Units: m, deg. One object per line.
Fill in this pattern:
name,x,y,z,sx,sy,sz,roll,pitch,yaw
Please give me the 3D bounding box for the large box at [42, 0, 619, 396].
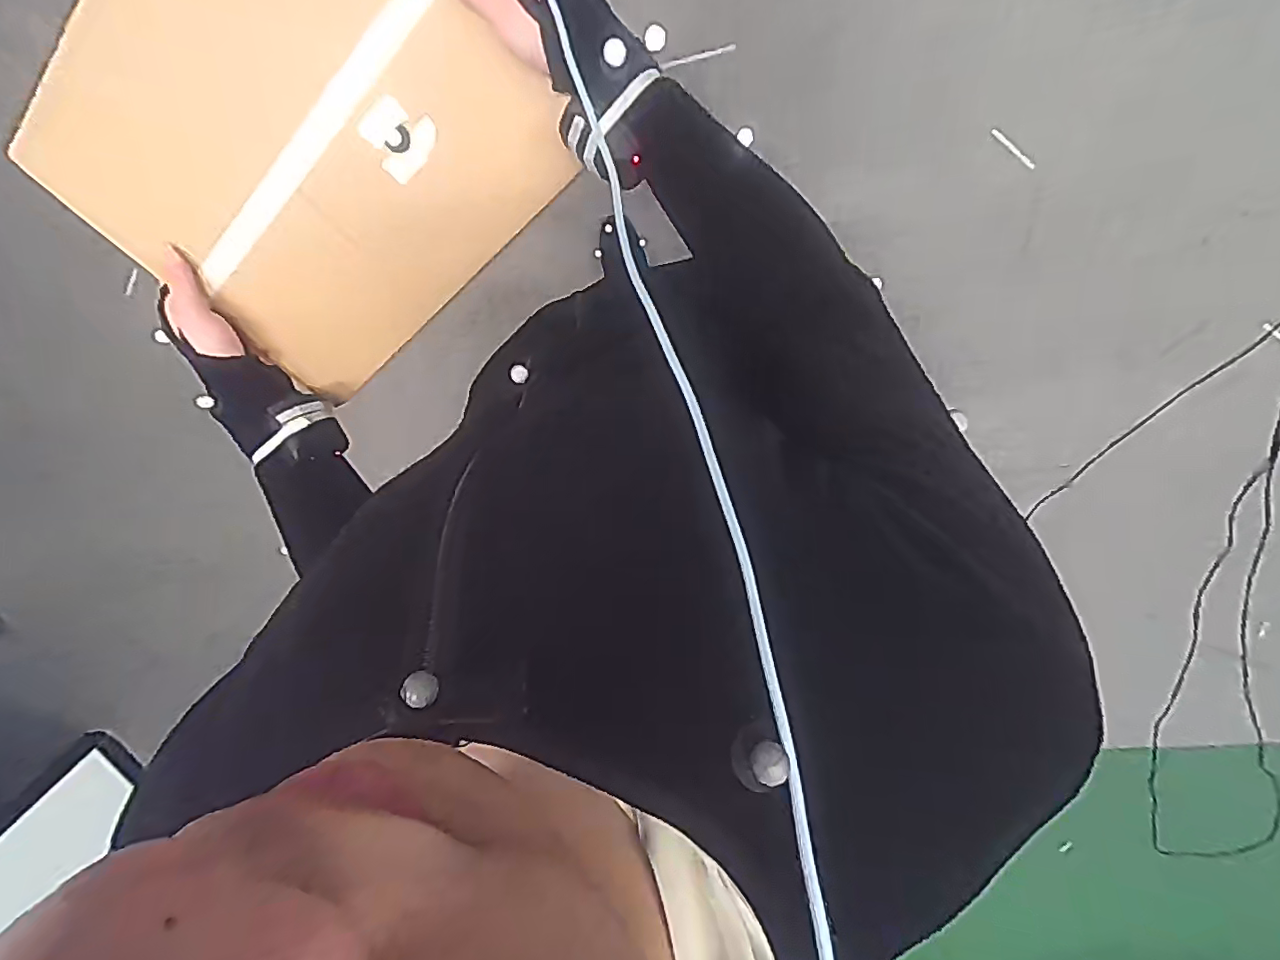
large box,-0.271,-0.373,0.581,0.408,0.320,0.320,-34,119,21
